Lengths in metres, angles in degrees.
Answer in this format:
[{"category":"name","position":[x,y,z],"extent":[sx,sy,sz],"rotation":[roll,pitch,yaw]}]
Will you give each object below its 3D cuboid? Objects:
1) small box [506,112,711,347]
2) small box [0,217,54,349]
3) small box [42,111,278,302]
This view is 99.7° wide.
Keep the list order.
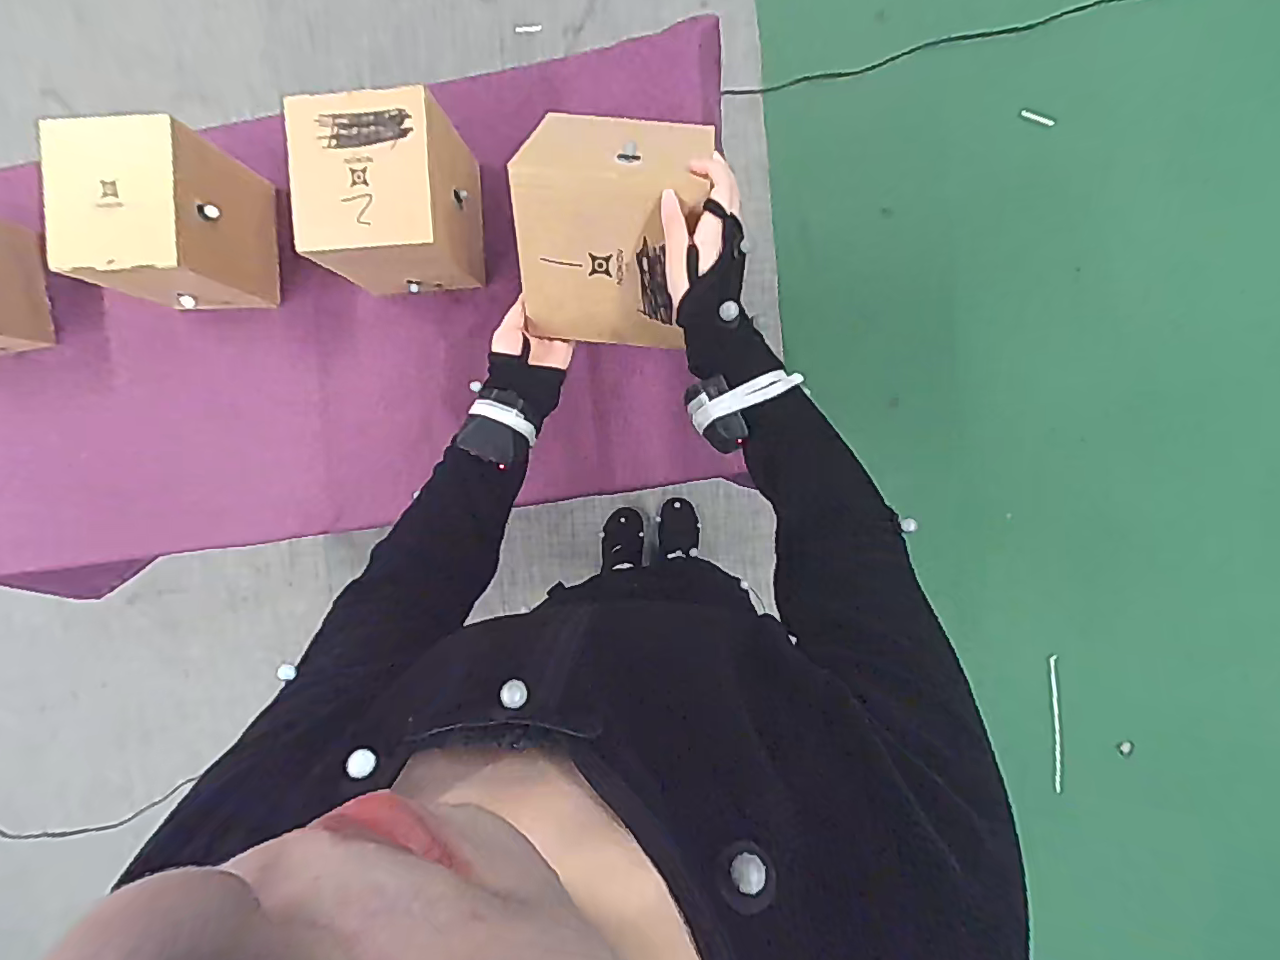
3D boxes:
[{"category":"small box","position":[-0.023,-0.261,0.562],"extent":[0.179,0.176,0.168],"rotation":[7,137,2]},{"category":"small box","position":[-0.975,-0.283,0.737],"extent":[0.168,0.176,0.179],"rotation":[-7,92,4]},{"category":"small box","position":[-0.613,-0.346,0.713],"extent":[0.168,0.176,0.179],"rotation":[0,94,4]}]
